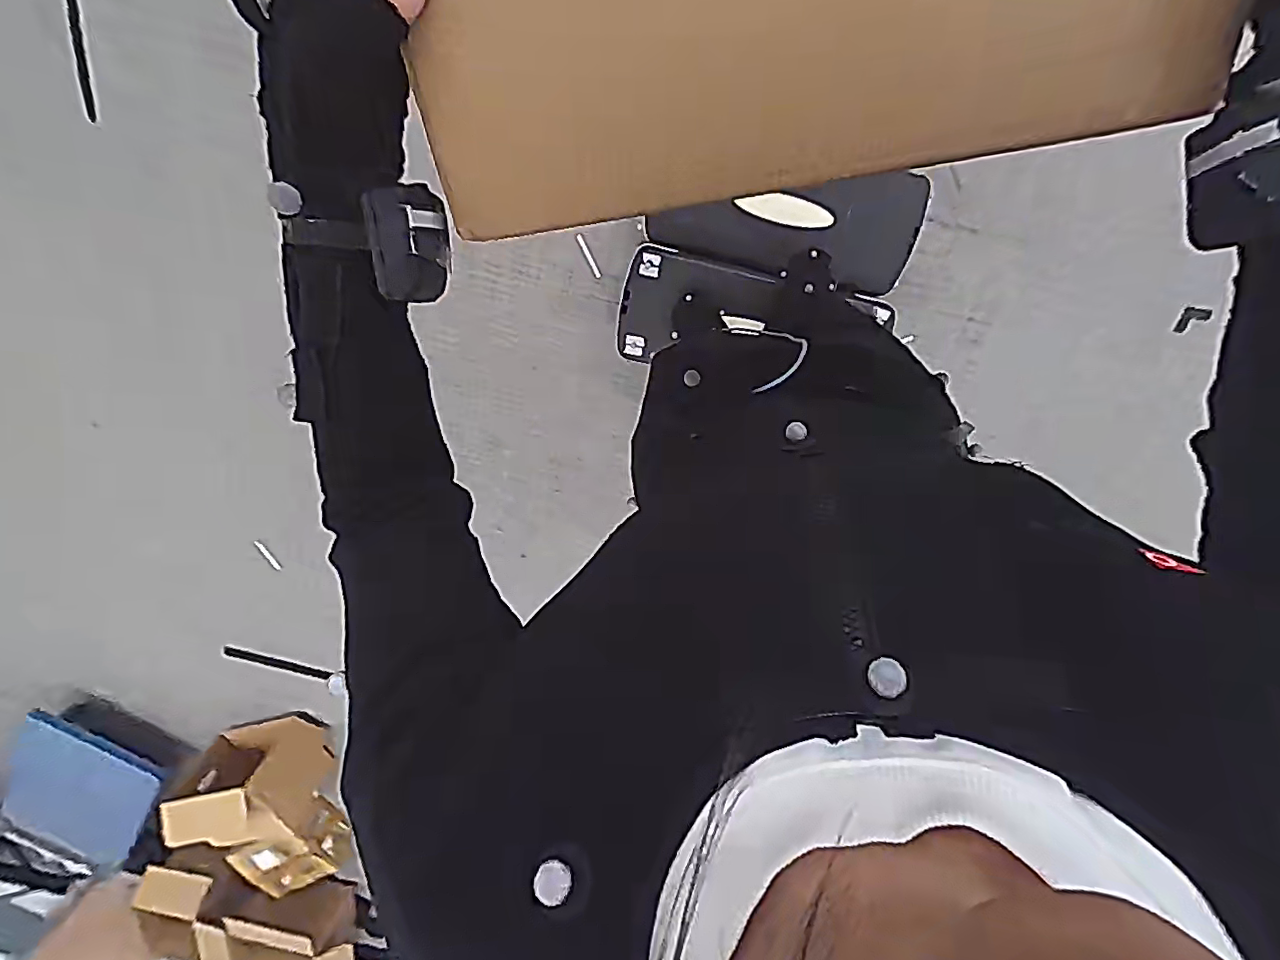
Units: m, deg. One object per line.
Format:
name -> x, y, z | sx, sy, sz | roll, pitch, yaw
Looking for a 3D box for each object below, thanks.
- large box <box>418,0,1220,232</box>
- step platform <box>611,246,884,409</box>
large box -> 0.079, -0.381, 0.367 | 0.408, 0.320, 0.320 | -6, 120, 7
step platform -> 0.267, -0.401, 1.429 | 0.684, 0.204, 0.286 | 13, 113, 2
